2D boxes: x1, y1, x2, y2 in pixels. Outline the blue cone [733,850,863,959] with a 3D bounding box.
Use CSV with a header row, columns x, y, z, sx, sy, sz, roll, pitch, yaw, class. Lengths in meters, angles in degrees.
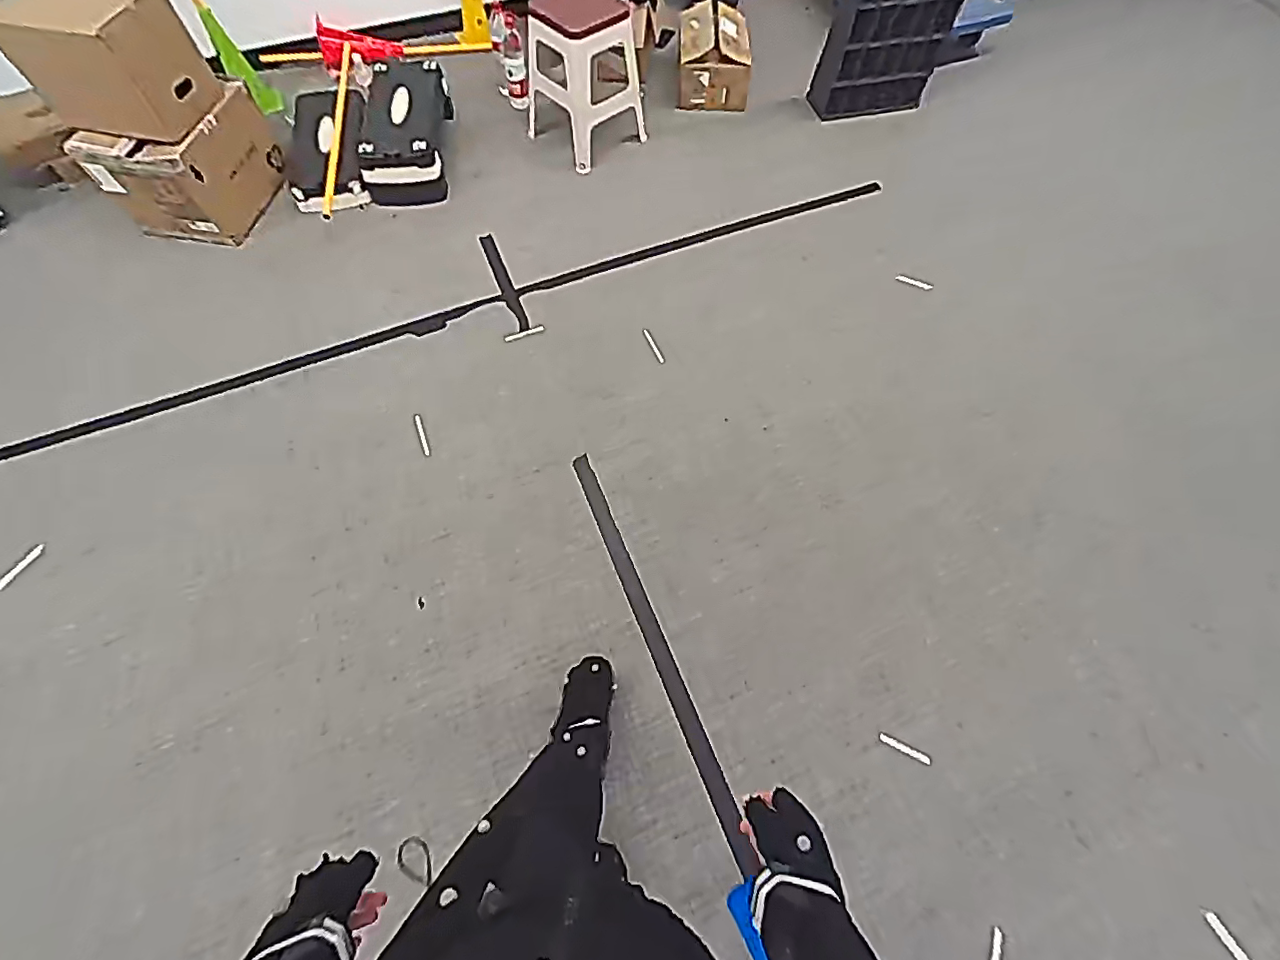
x,y,z,sx,sy,sz,roll,pitch,yaw,class
0.312,0.833,0.979,0.192,0.380,0.193,-23,66,-14,blue cone
